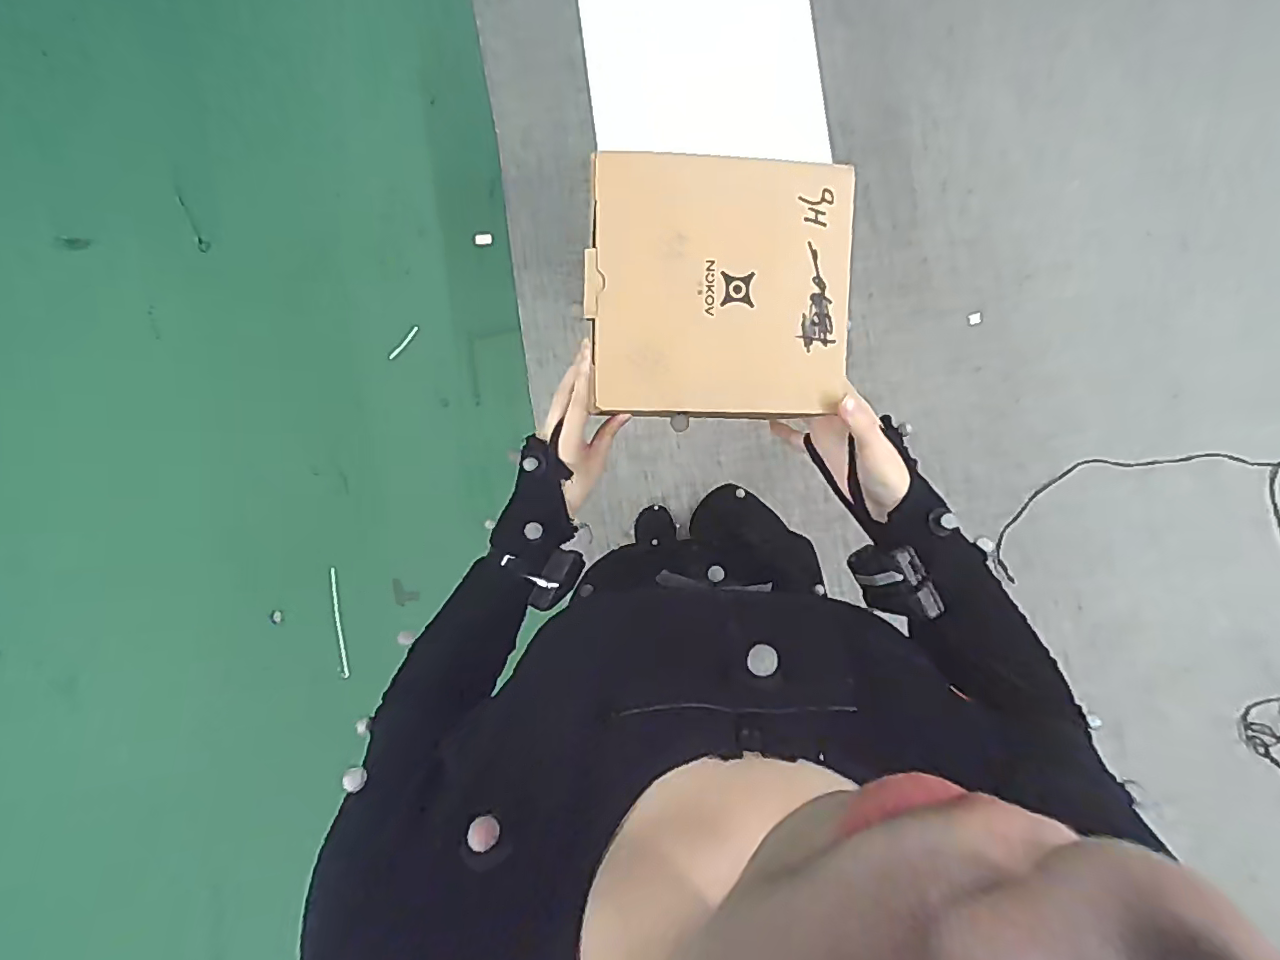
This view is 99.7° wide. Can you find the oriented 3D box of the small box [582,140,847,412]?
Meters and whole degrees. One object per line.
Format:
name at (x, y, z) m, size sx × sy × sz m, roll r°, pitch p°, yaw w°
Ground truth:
small box at (0.044, -0.142, 0.438) m, size 0.179 × 0.176 × 0.168 m, roll 0°, pitch 95°, yaw -6°
